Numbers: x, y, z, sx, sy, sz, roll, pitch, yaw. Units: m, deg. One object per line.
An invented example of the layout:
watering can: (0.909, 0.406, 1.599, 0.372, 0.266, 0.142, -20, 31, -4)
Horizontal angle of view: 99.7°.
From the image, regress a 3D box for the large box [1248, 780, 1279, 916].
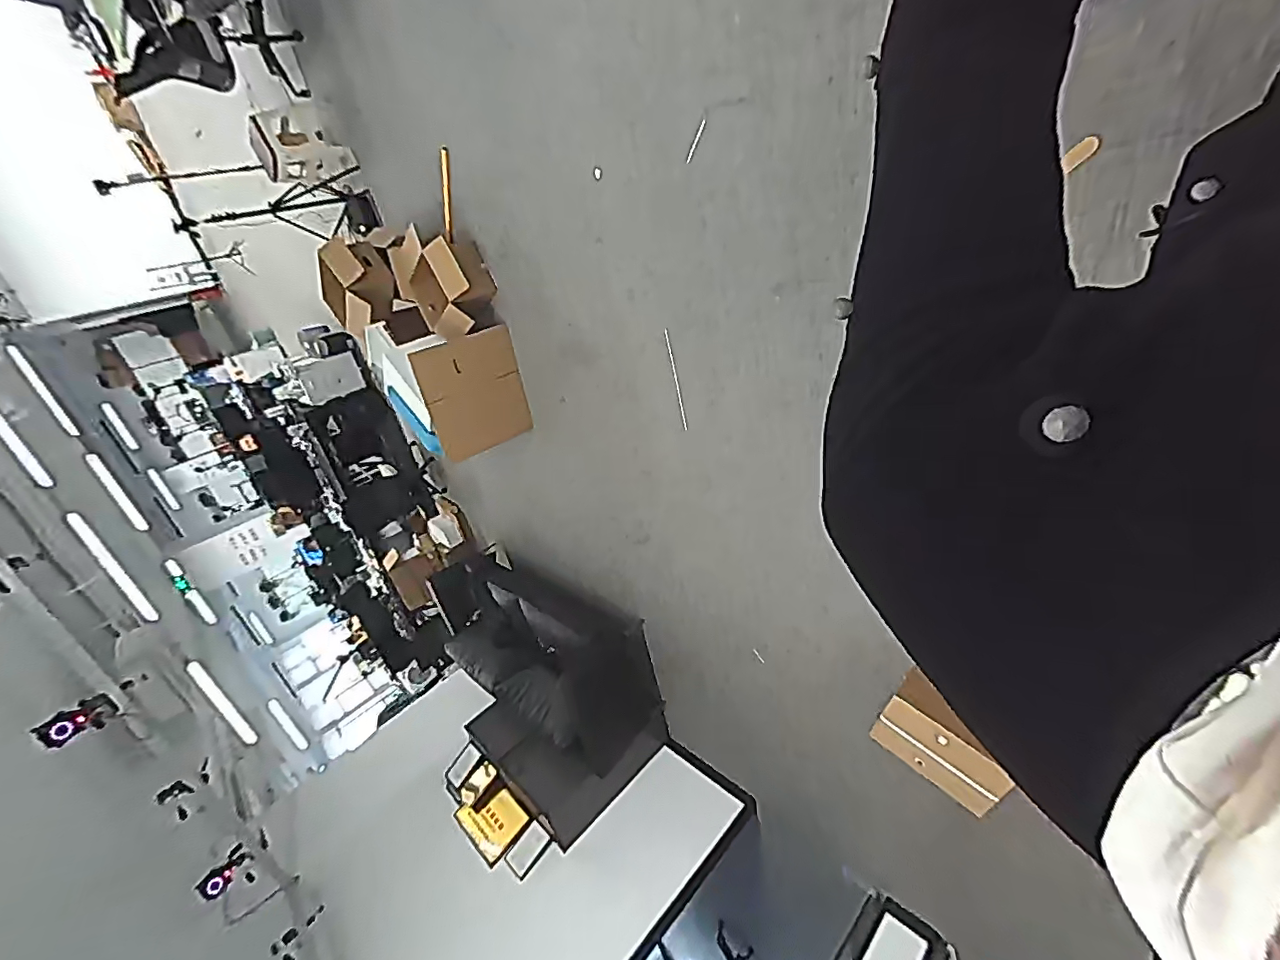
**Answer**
large box: (1.730, 0.928, 1.211, 0.320, 0.320, 0.408, 56, 145, 1)
